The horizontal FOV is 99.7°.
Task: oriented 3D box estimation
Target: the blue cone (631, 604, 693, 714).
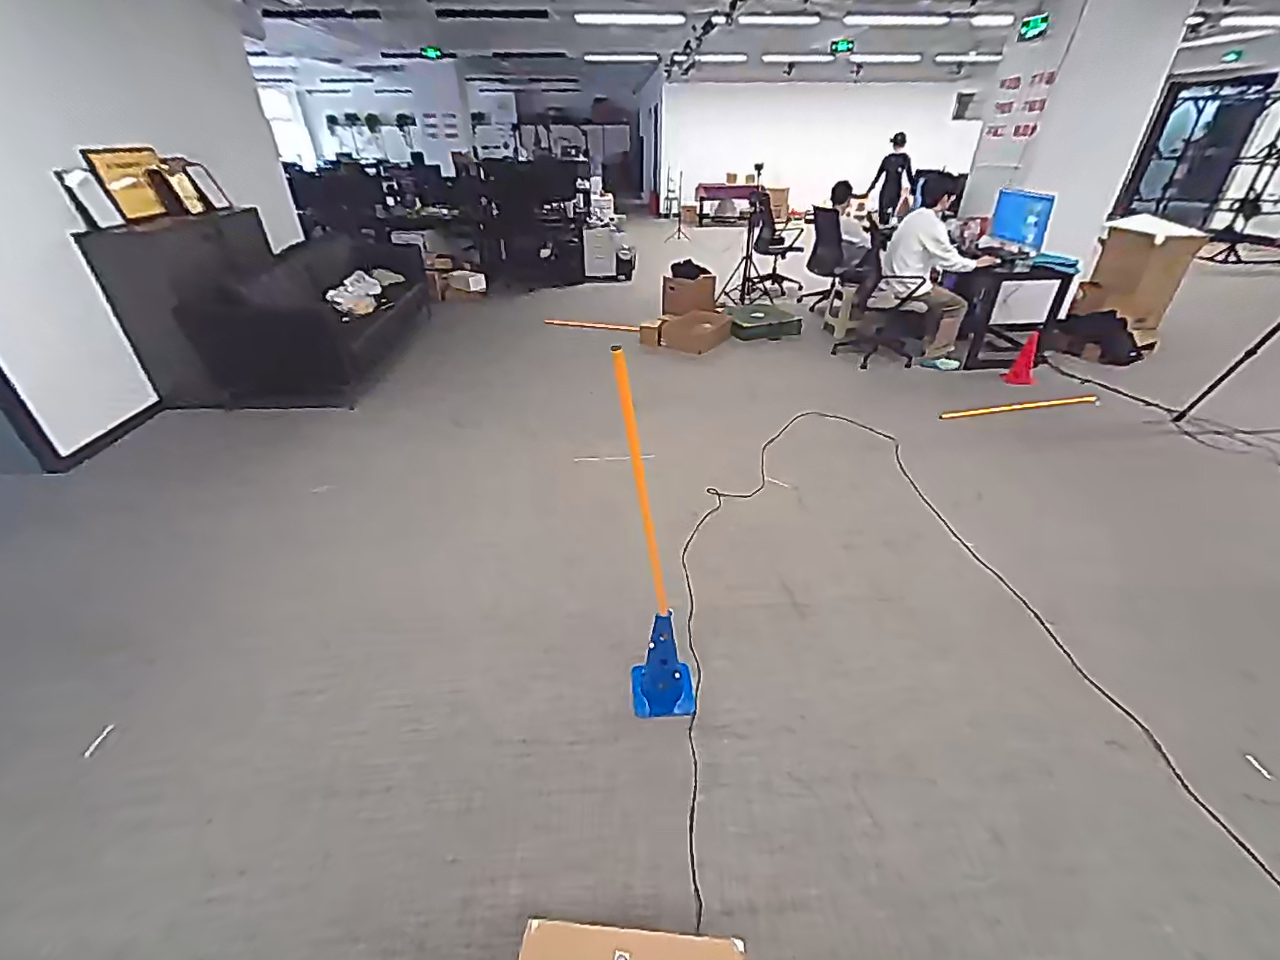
[{"bbox_3d":[0.066,0.545,1.696,0.193,0.380,0.192,-5,32,-4],"label":"blue cone"}]
